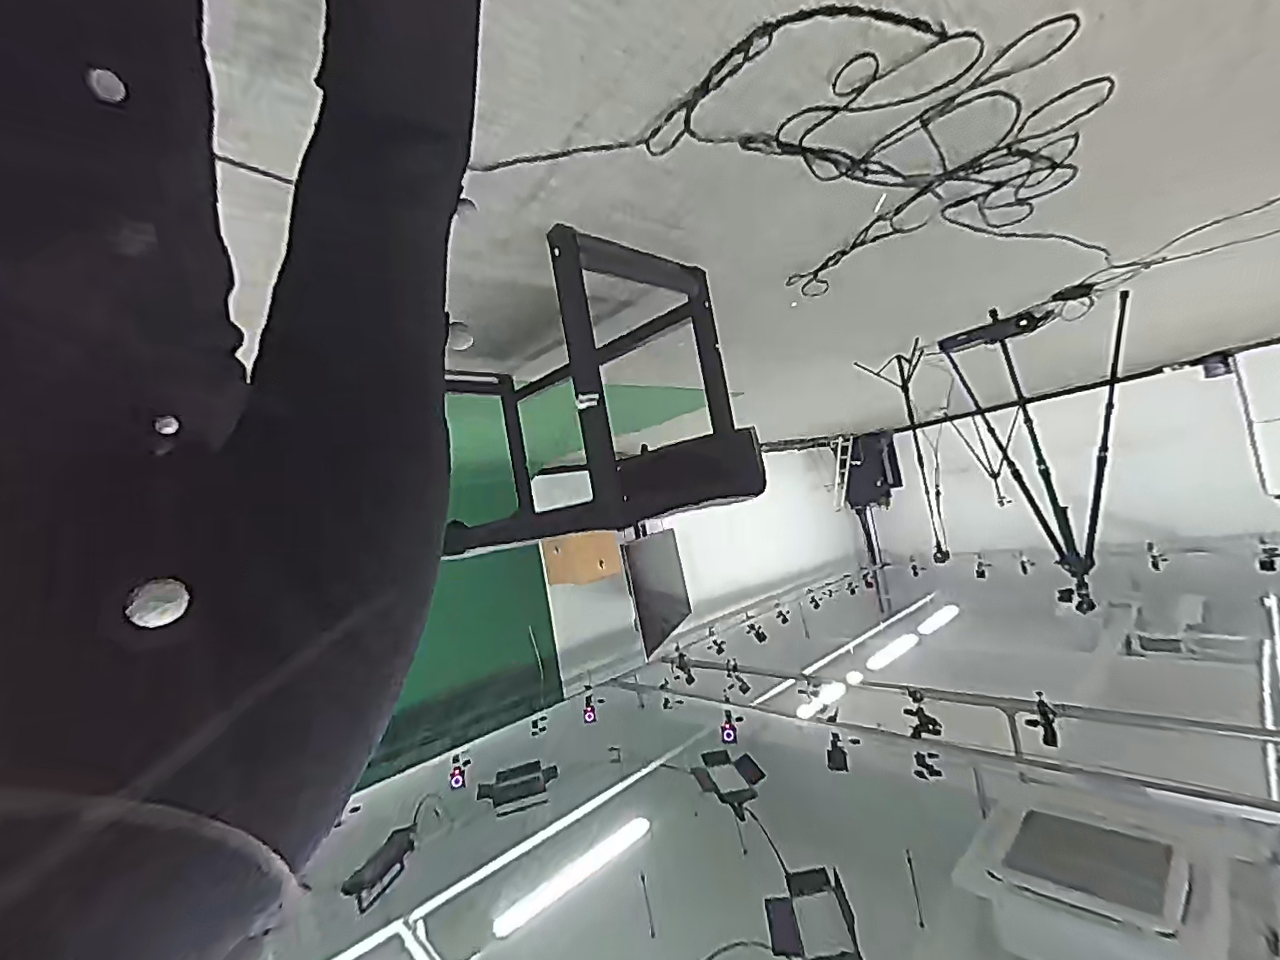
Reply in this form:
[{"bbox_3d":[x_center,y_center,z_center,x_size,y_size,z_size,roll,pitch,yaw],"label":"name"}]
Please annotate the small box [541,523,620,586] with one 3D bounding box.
[{"bbox_3d":[-0.193,0.235,1.727,0.179,0.176,0.168,-7,175,-45],"label":"small box"}]
